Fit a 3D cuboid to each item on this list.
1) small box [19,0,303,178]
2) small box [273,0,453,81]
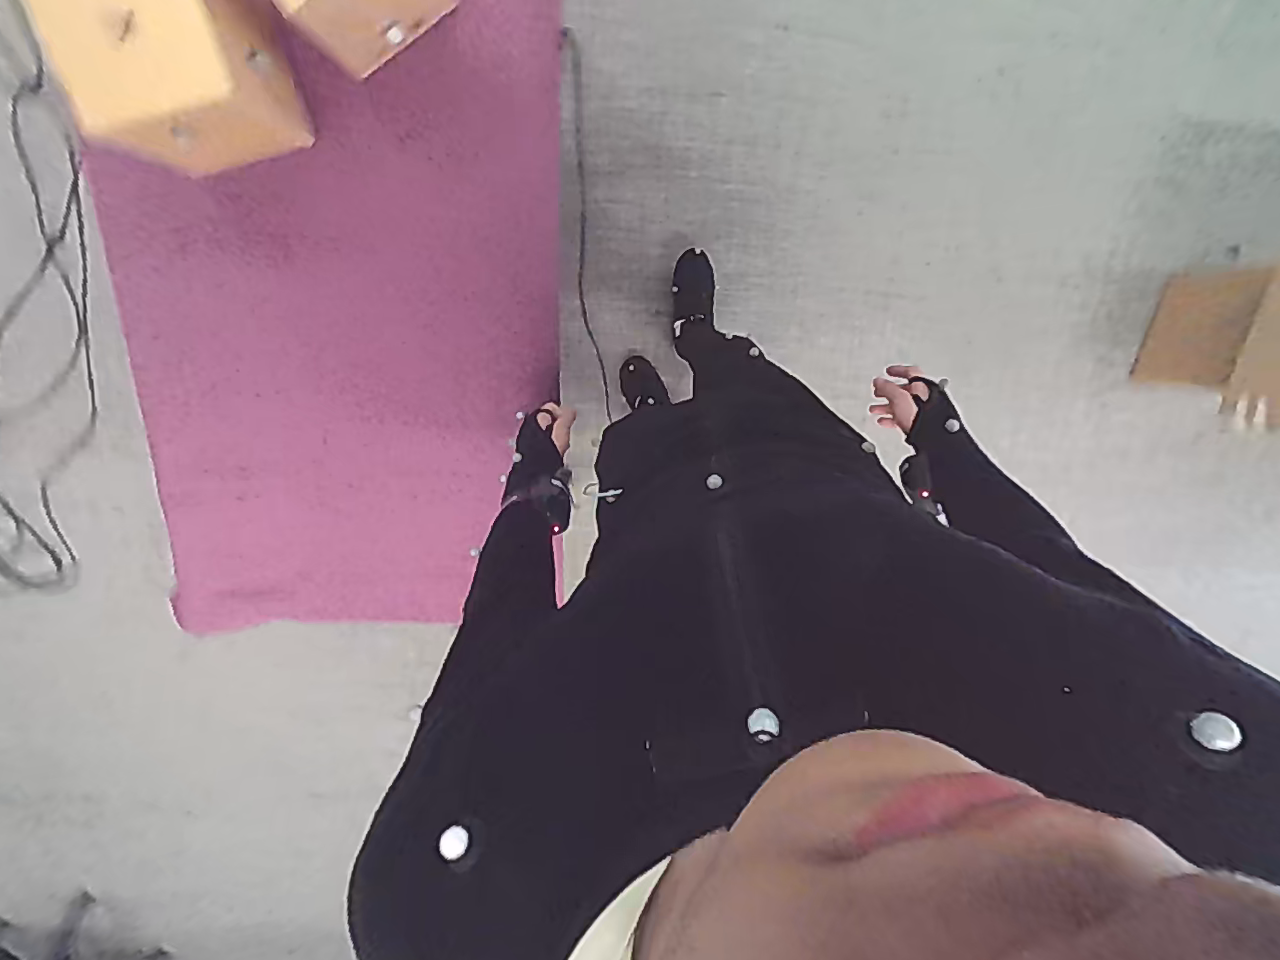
[{"bbox_3d":[-0.540,-0.483,0.639,0.179,0.176,0.168,-14,106,2],"label":"small box"},{"bbox_3d":[-0.345,-0.608,0.607,0.168,0.176,0.179,-32,105,7],"label":"small box"}]
